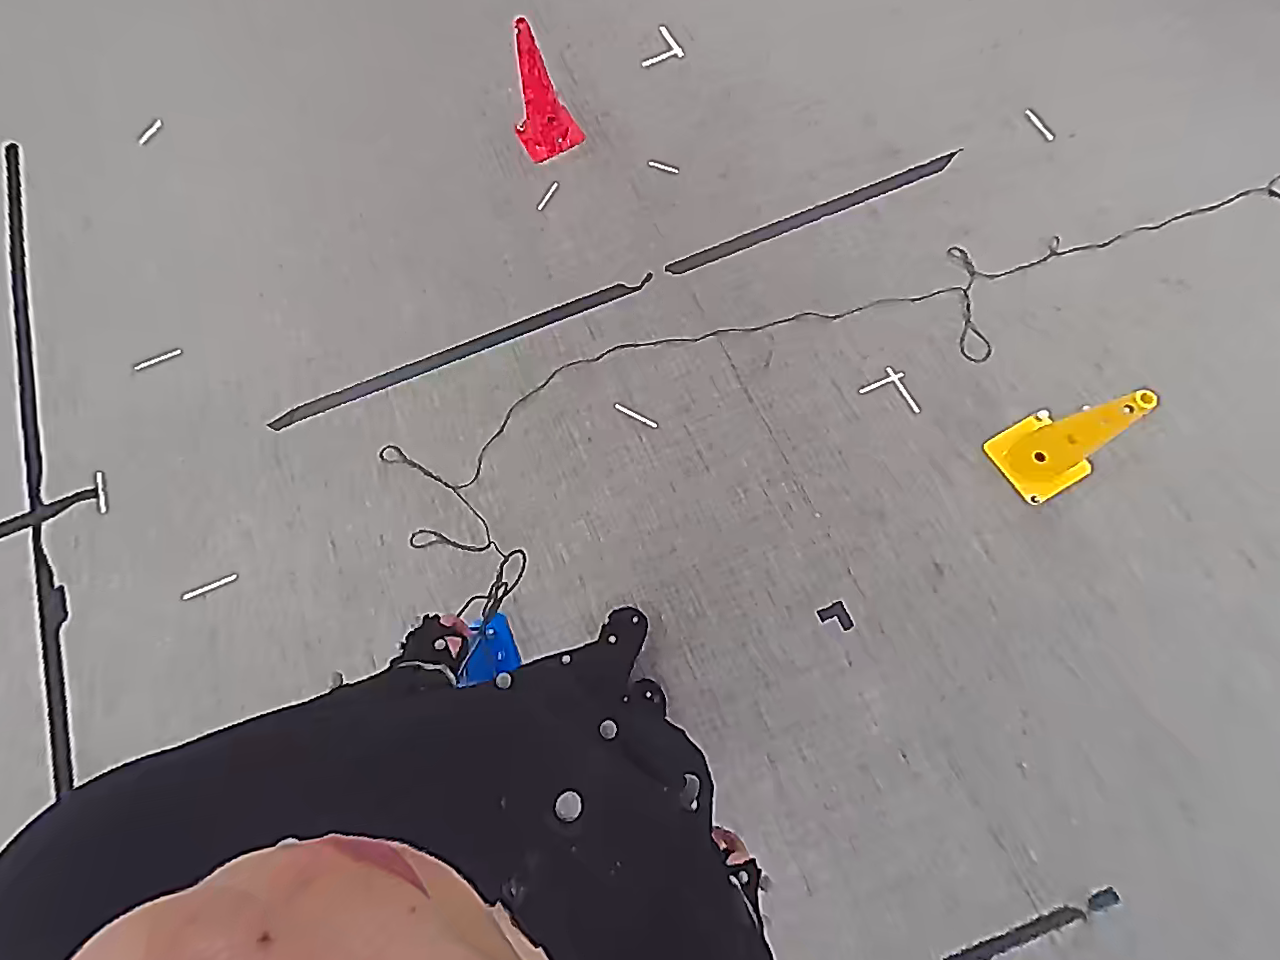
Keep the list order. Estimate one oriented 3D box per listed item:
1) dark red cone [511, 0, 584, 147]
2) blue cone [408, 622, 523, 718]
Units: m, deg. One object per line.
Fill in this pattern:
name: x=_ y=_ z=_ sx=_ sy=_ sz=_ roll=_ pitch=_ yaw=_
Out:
dark red cone: x=-0.323 y=-1.268 z=1.671 sx=0.202 sy=0.394 sz=0.201 roll=-30 pitch=75 yaw=-5
blue cone: x=-0.414 y=0.425 z=1.197 sx=0.193 sy=0.380 sz=0.192 roll=-22 pitch=74 yaw=-2
